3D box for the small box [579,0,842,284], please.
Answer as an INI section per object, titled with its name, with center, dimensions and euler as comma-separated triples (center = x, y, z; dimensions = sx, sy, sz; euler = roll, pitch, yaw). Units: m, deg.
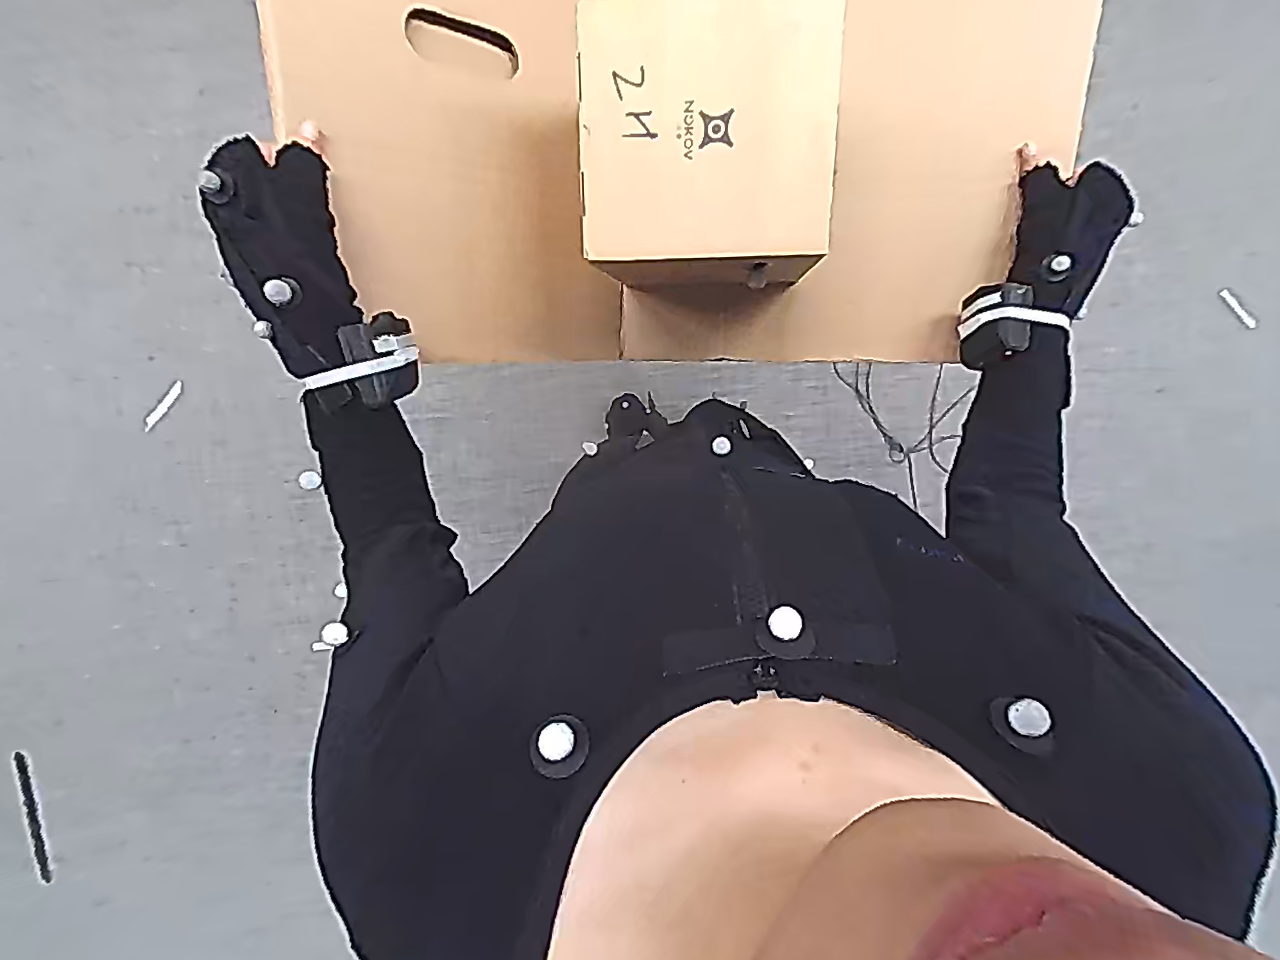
[small box]
center = 0.055, -0.262, 0.452
dimensions = 0.179, 0.176, 0.168
euler = 2, 104, 9
